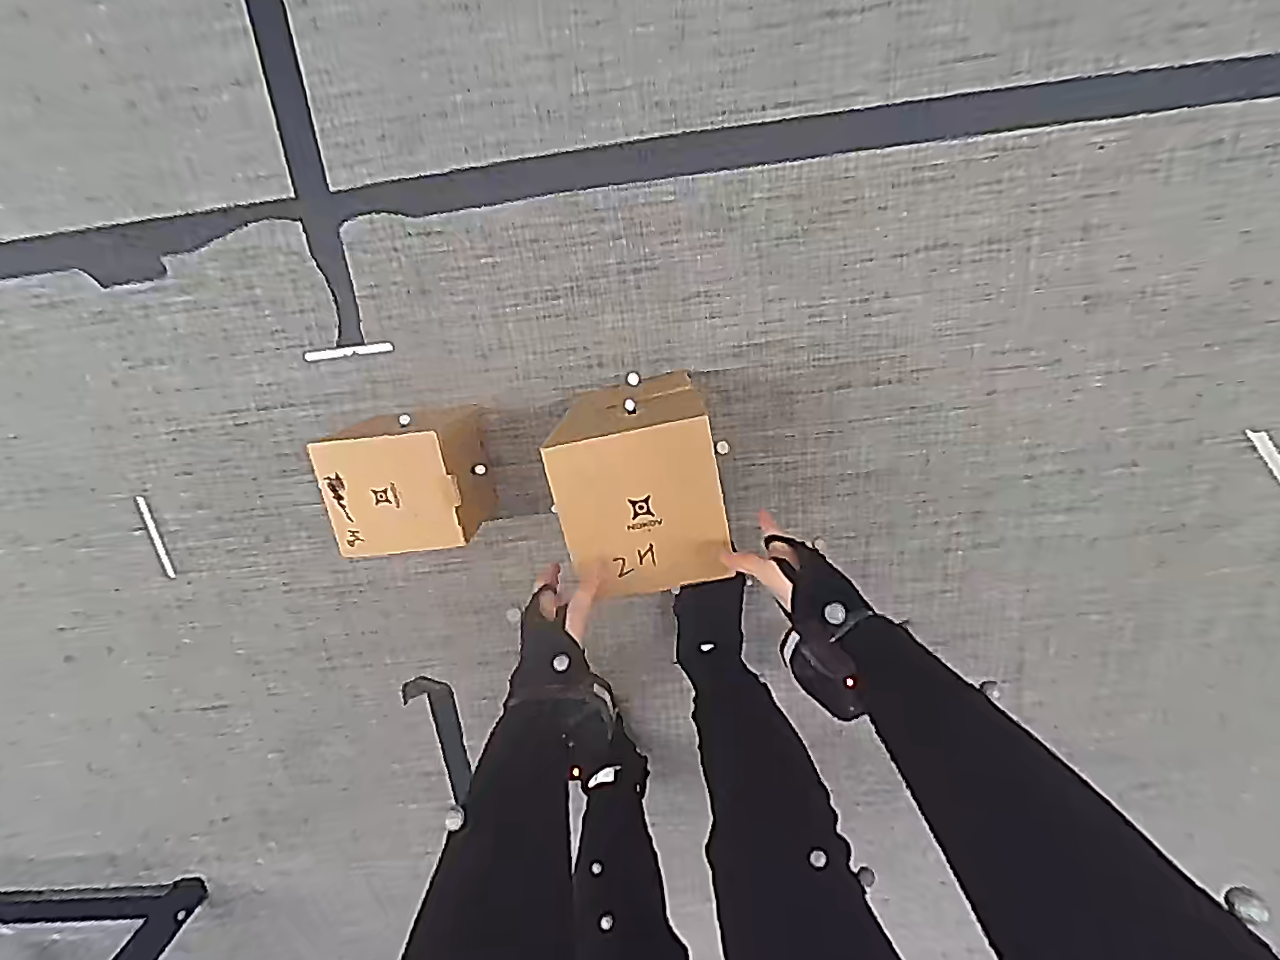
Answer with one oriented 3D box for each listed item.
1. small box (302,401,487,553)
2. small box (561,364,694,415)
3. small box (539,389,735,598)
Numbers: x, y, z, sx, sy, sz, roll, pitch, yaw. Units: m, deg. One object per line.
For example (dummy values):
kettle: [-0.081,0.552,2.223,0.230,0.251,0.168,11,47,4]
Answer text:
small box: [-0.330,-0.012,0.773,0.179,0.176,0.168,-6,109,2]
small box: [0.002,-0.052,0.754,0.168,0.176,0.179,-12,108,5]
small box: [0.001,0.002,0.598,0.168,0.176,0.179,-11,109,5]
